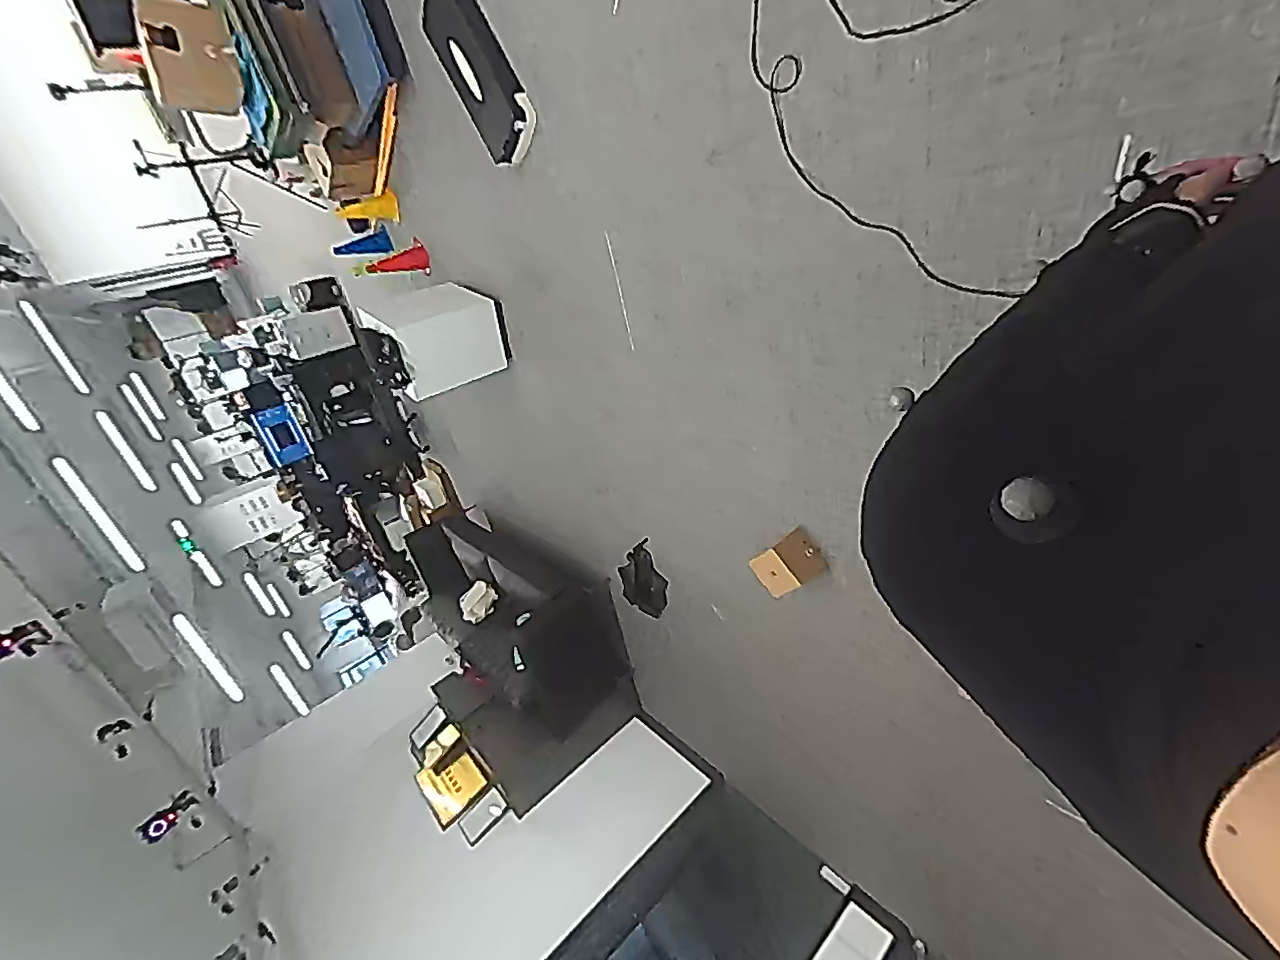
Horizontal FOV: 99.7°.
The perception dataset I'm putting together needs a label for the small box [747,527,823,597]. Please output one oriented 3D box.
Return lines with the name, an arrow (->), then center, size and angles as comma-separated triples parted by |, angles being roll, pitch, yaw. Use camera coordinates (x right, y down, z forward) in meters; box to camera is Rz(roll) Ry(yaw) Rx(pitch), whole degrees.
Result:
small box -> 0.537, 0.302, 1.991 | 0.168, 0.176, 0.179 | 52, 148, 10
